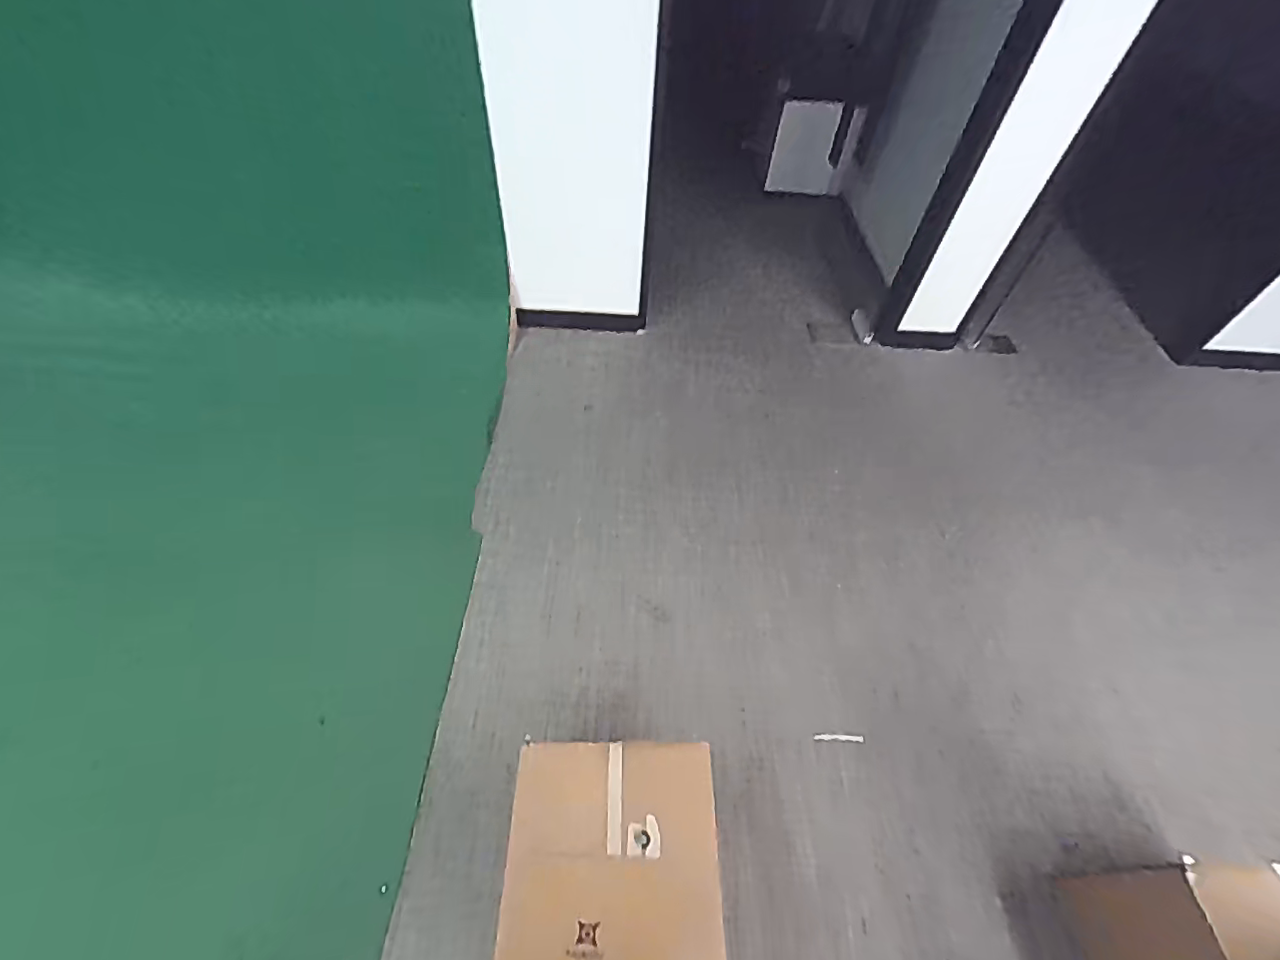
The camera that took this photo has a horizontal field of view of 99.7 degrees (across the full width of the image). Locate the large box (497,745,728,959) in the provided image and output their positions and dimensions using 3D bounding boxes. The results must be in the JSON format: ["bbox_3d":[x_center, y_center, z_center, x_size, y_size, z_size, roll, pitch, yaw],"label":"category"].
[{"bbox_3d":[-0.040,0.687,0.877,0.320,0.320,0.408,1,50,-2],"label":"large box"}]
